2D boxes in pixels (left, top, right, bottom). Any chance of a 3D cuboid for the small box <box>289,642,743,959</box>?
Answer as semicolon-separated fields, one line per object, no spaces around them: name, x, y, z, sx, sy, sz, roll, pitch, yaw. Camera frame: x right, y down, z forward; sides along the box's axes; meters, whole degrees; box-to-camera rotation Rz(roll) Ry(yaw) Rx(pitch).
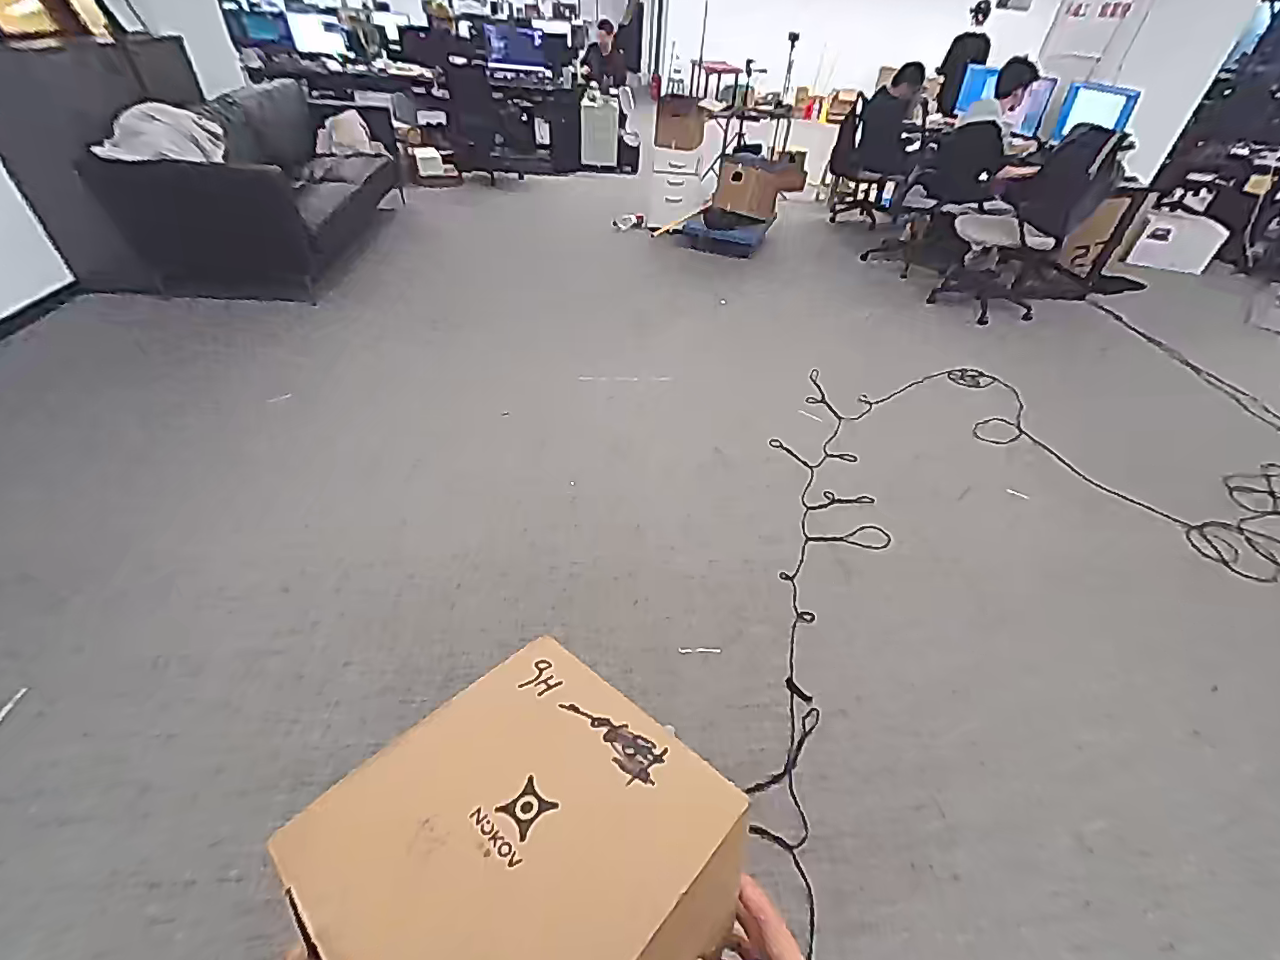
small box;-0.057;0.241;0.316;0.168;0.176;0.179;25;41;36
